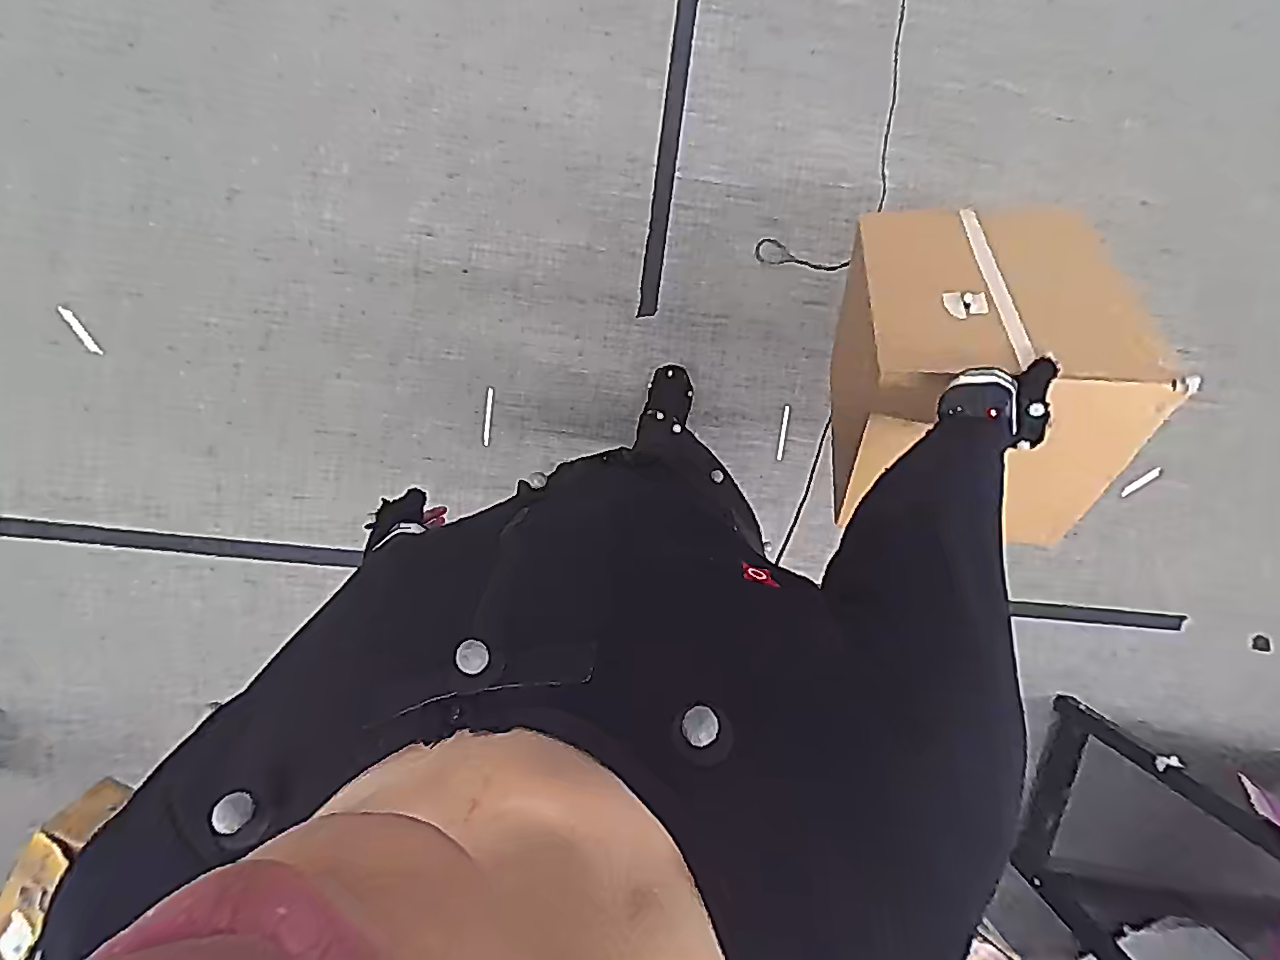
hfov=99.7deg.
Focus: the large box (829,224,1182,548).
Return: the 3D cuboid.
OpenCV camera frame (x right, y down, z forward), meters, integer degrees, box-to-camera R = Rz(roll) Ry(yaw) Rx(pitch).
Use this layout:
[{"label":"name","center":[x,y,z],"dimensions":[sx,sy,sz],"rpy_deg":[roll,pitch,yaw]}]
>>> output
[{"label":"large box","center":[0.494,-0.155,0.854],"dimensions":[0.320,0.408,0.320],"rpy_deg":[5,142,11]}]
